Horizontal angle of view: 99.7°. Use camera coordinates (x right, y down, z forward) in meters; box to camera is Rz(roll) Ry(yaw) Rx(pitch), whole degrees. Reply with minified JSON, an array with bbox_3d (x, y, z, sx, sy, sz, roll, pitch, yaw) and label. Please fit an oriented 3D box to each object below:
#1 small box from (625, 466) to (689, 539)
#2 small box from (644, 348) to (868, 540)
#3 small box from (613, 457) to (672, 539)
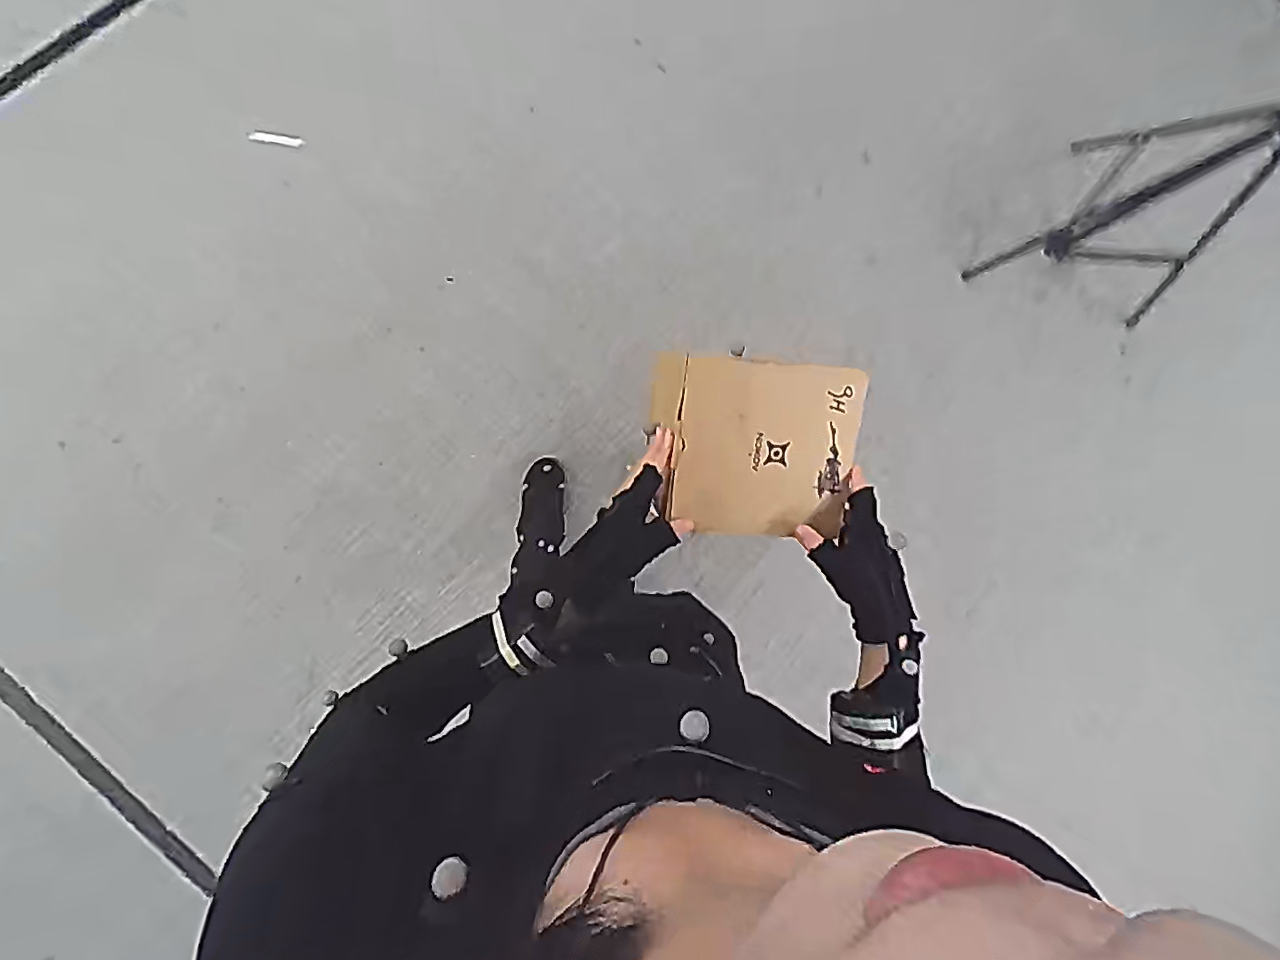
[{"bbox_3d":[0.077,0.022,1.284,0.168,0.176,0.179,42,81,-4],"label":"small box"},{"bbox_3d":[0.103,-0.044,0.567,0.179,0.176,0.168,3,102,-9],"label":"small box"},{"bbox_3d":[0.046,0.039,1.443,0.179,0.176,0.168,38,82,-2],"label":"small box"}]
